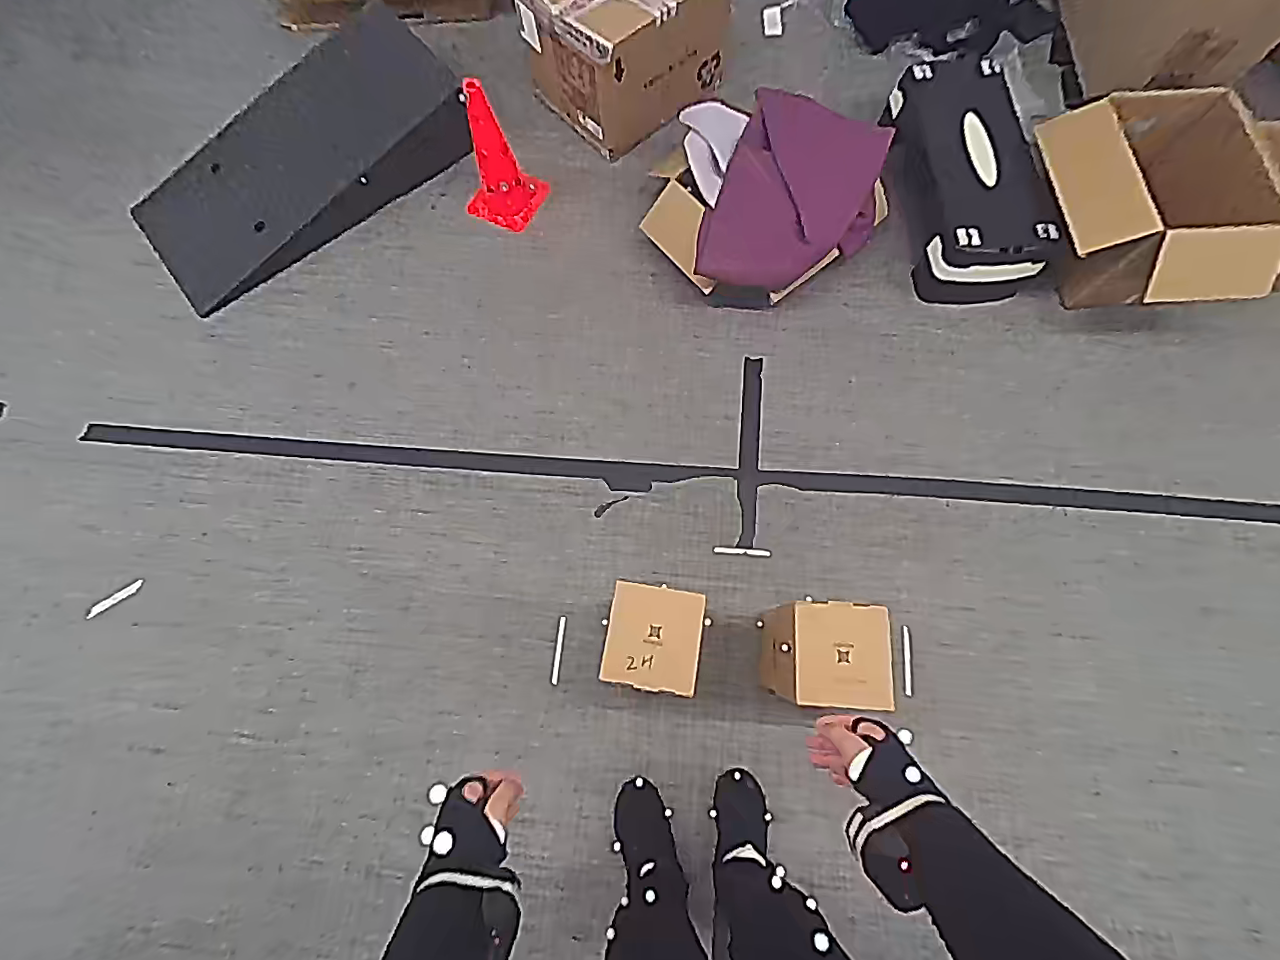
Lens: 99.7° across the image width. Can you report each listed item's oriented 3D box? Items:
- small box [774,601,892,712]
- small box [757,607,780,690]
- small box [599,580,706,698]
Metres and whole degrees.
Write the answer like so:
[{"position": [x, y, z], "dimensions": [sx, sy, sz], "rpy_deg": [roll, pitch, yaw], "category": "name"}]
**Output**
[{"position": [0.350, 0.326, 1.013], "dimensions": [0.168, 0.176, 0.179], "rpy_deg": [3, 75, 3], "category": "small box"}, {"position": [0.358, 0.375, 1.168], "dimensions": [0.179, 0.176, 0.168], "rpy_deg": [8, 74, 2], "category": "small box"}, {"position": [0.023, 0.298, 1.021], "dimensions": [0.168, 0.176, 0.179], "rpy_deg": [9, 74, 4], "category": "small box"}]
